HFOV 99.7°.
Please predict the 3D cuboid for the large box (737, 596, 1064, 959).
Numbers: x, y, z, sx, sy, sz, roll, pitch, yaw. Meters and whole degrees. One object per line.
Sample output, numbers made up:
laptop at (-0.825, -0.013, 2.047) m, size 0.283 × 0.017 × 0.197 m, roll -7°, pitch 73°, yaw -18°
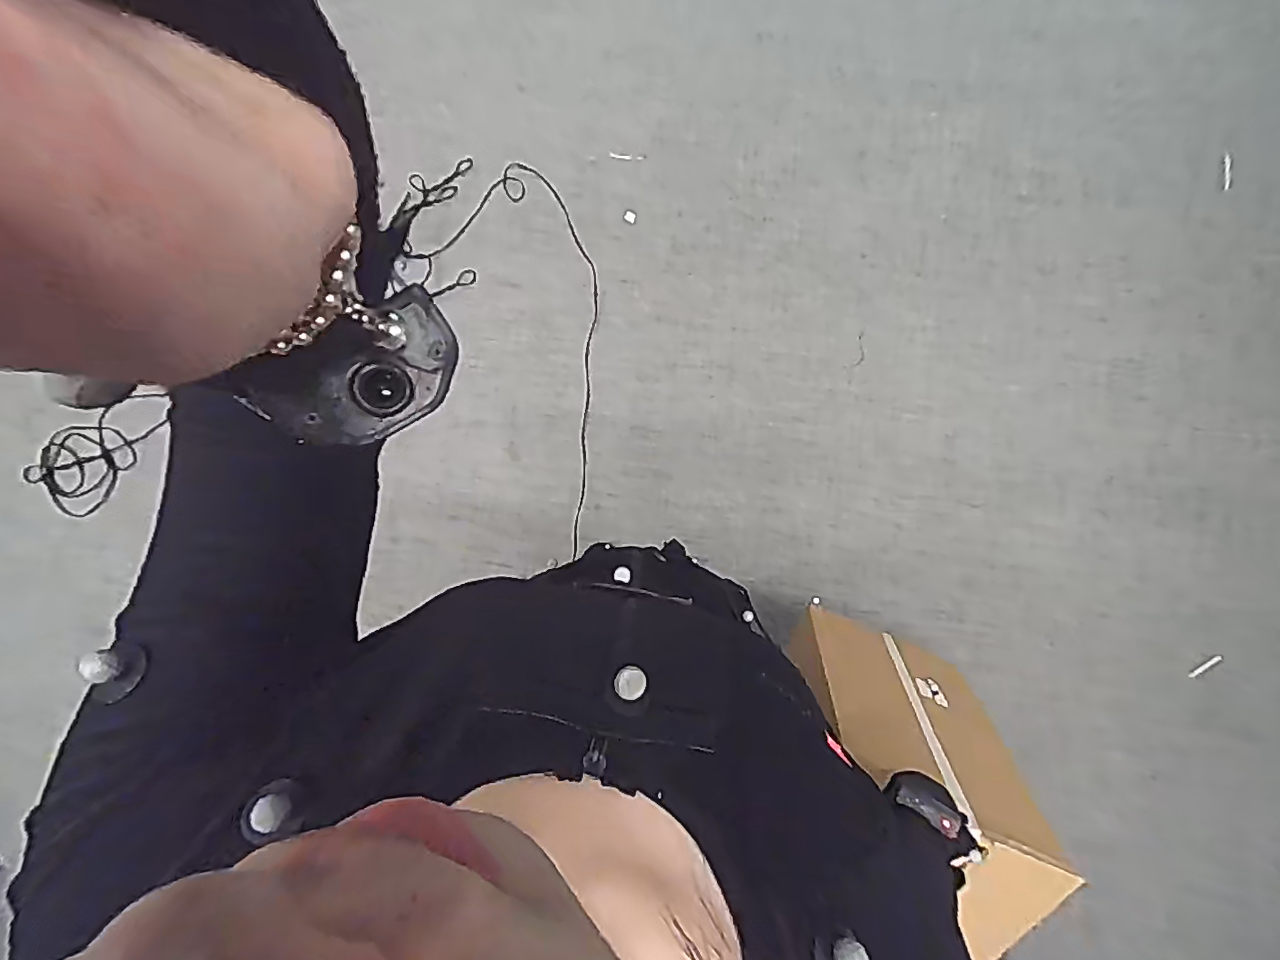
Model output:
large box at (0.367, 0.476, 0.910) m, size 0.320 × 0.408 × 0.320 m, roll 24°, pitch 112°, yaw 0°
